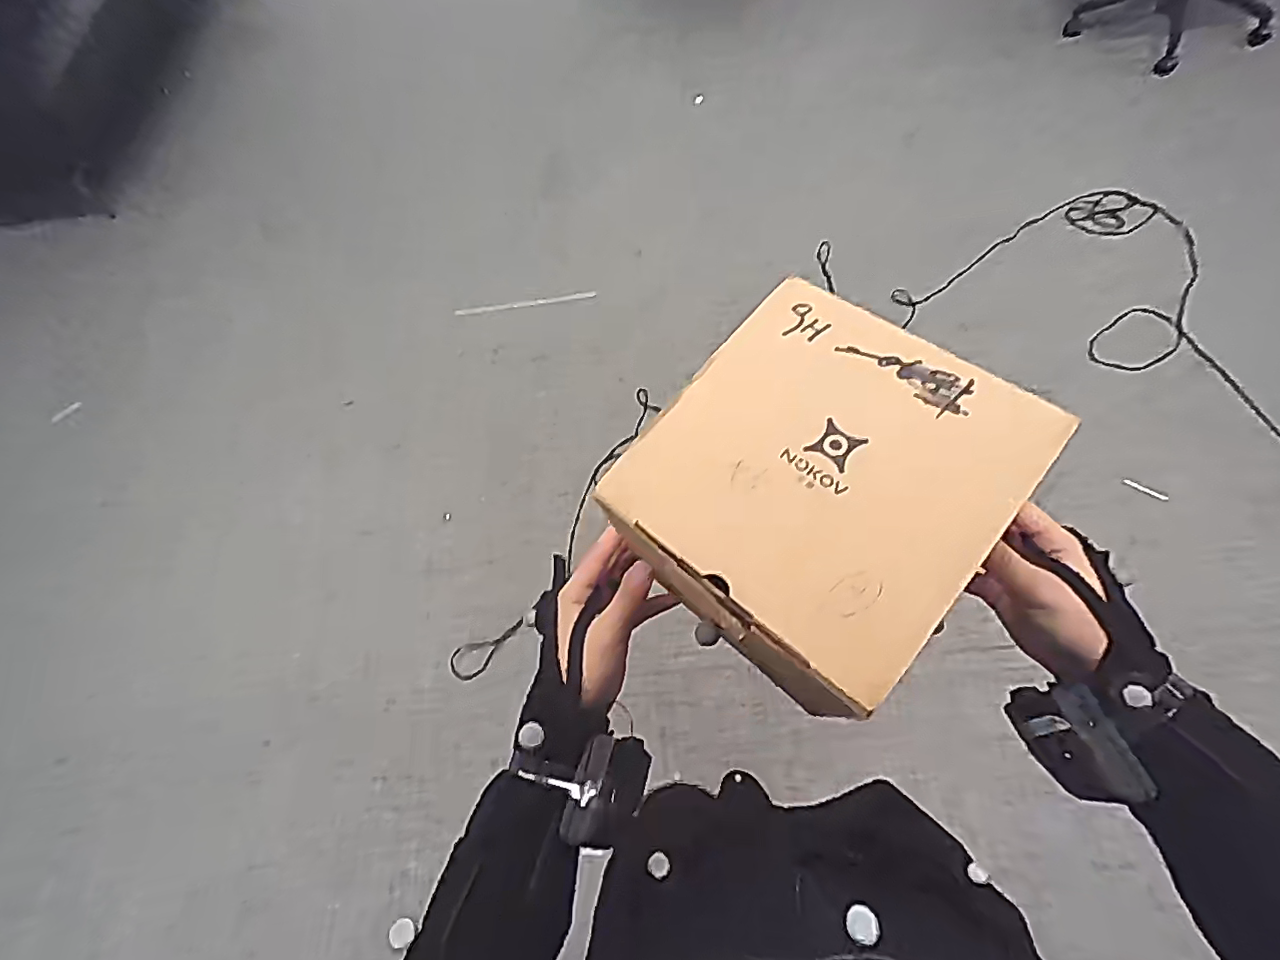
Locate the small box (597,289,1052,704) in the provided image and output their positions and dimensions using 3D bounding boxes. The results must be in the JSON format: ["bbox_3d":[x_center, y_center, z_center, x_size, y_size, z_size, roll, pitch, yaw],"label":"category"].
[{"bbox_3d":[0.104,0.023,0.352,0.168,0.176,0.179,38,78,22],"label":"small box"}]
